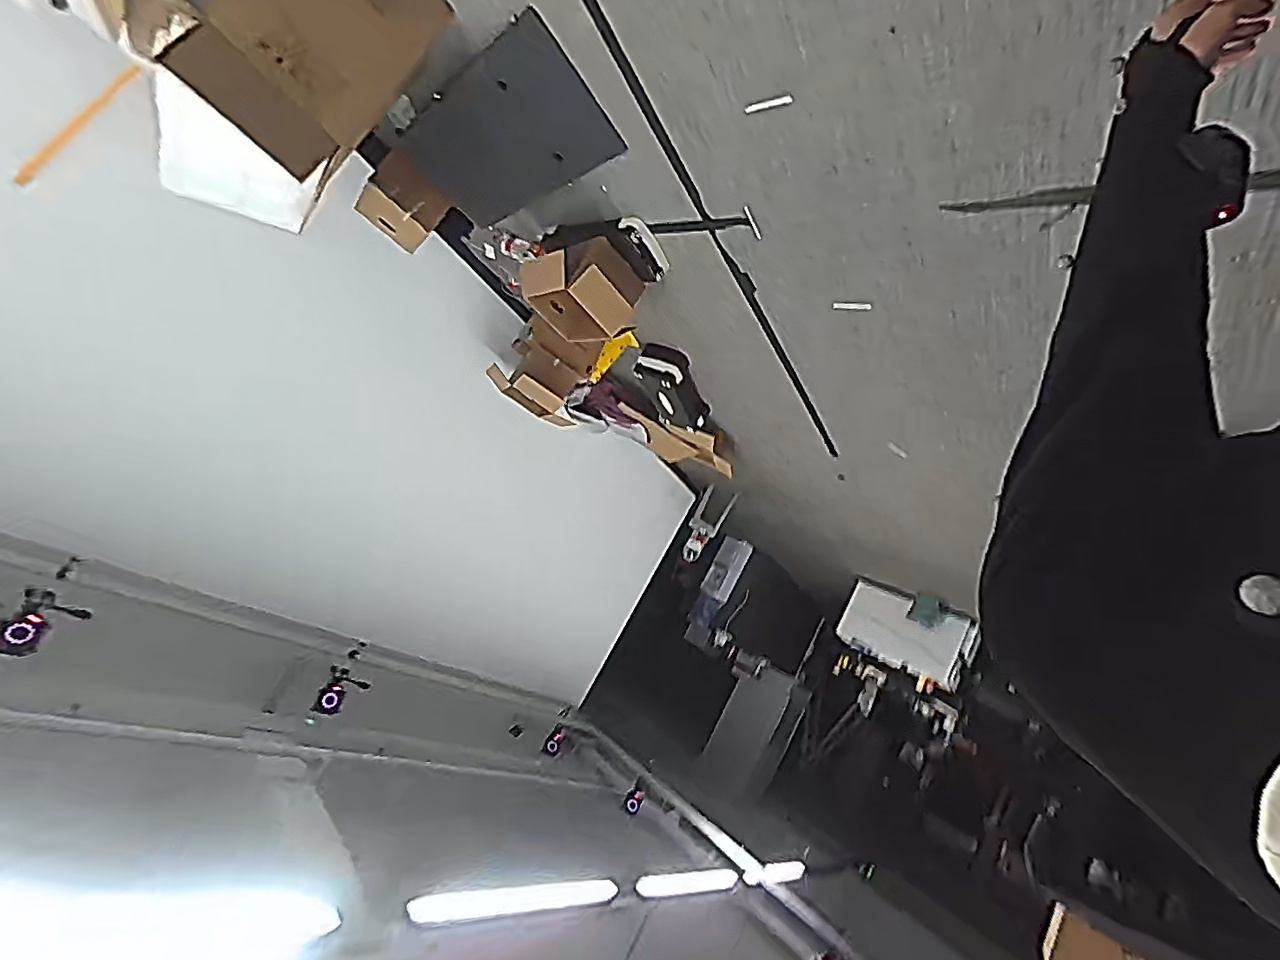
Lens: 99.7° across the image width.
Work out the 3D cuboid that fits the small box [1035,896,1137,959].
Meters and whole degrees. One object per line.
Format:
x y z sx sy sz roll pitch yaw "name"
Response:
1.157 1.230 1.407 0.168 0.176 0.179 20 168 39 "small box"
